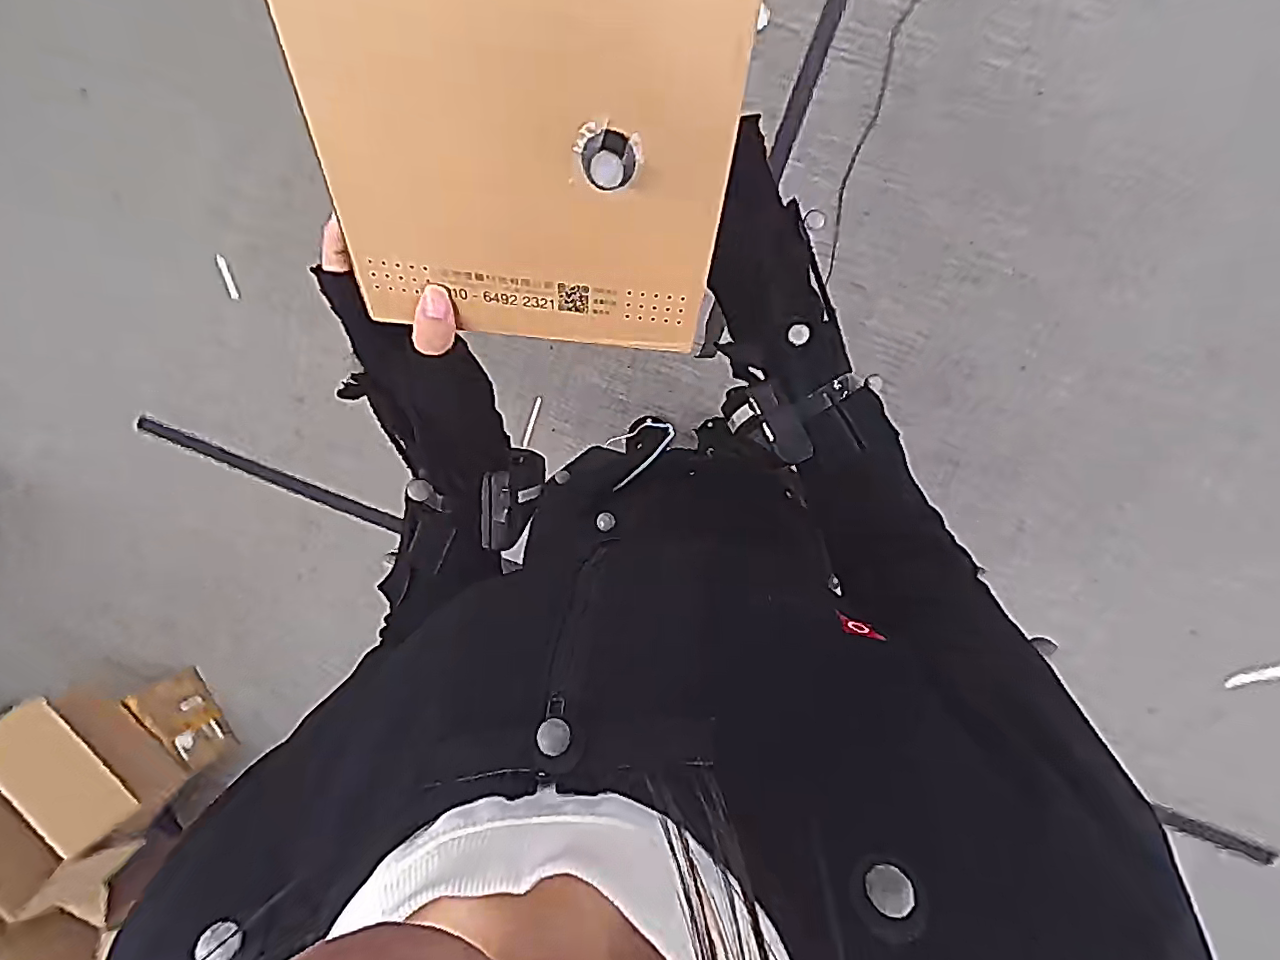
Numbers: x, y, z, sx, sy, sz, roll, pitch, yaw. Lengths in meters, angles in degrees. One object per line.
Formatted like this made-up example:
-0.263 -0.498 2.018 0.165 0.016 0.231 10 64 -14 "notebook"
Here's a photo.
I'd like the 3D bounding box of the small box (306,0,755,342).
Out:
-0.036 -0.196 0.286 0.168 0.179 0.176 8 140 -1 "small box"
